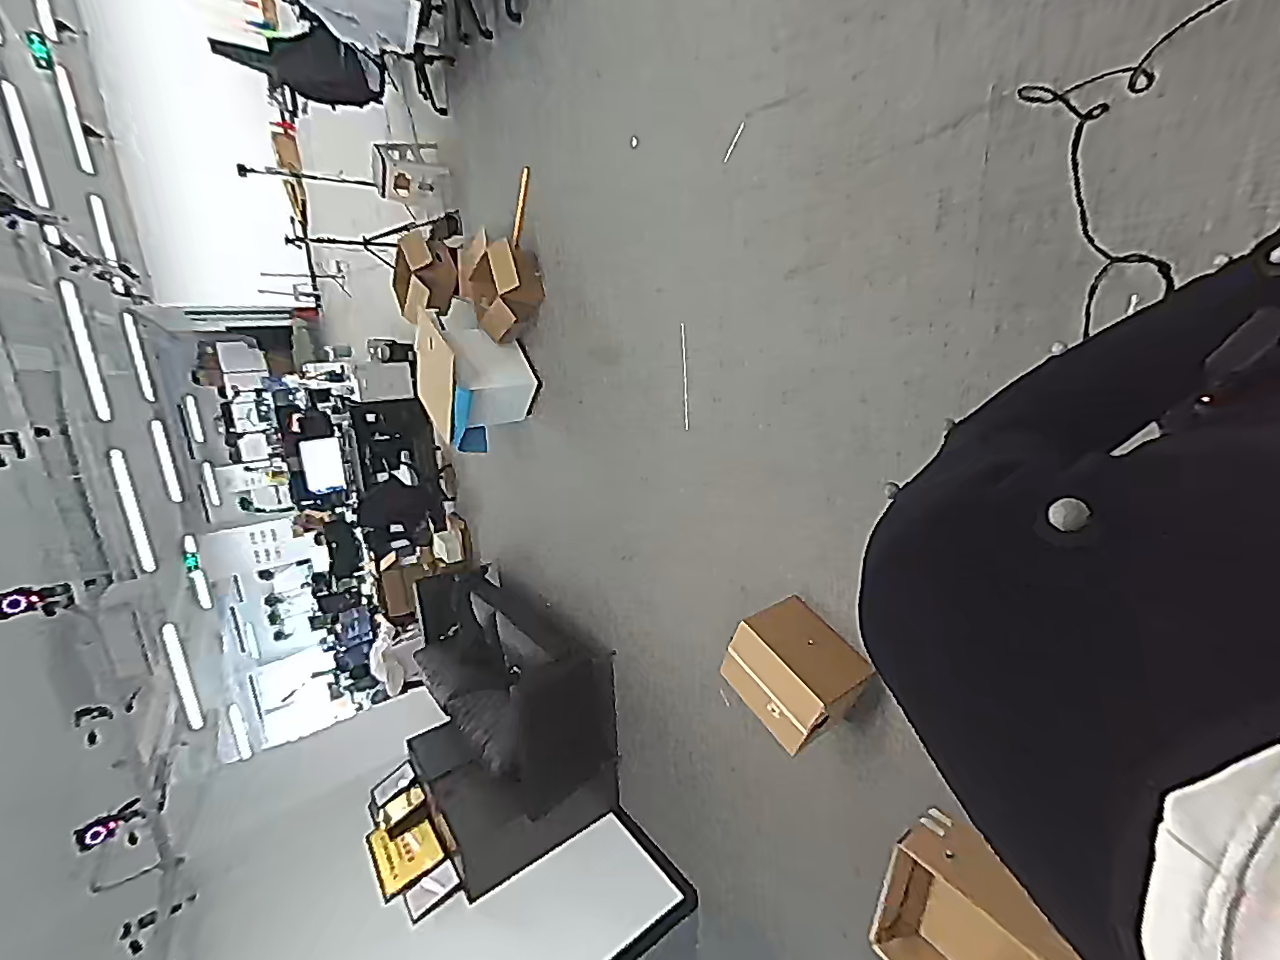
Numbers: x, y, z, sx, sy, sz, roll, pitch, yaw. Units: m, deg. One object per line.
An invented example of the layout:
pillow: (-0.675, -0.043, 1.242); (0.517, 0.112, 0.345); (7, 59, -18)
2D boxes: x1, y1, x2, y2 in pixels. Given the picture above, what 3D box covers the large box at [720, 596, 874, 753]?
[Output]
large box: (0.577, 0.713, 2.040); (0.408, 0.320, 0.320); (43, 133, 37)
